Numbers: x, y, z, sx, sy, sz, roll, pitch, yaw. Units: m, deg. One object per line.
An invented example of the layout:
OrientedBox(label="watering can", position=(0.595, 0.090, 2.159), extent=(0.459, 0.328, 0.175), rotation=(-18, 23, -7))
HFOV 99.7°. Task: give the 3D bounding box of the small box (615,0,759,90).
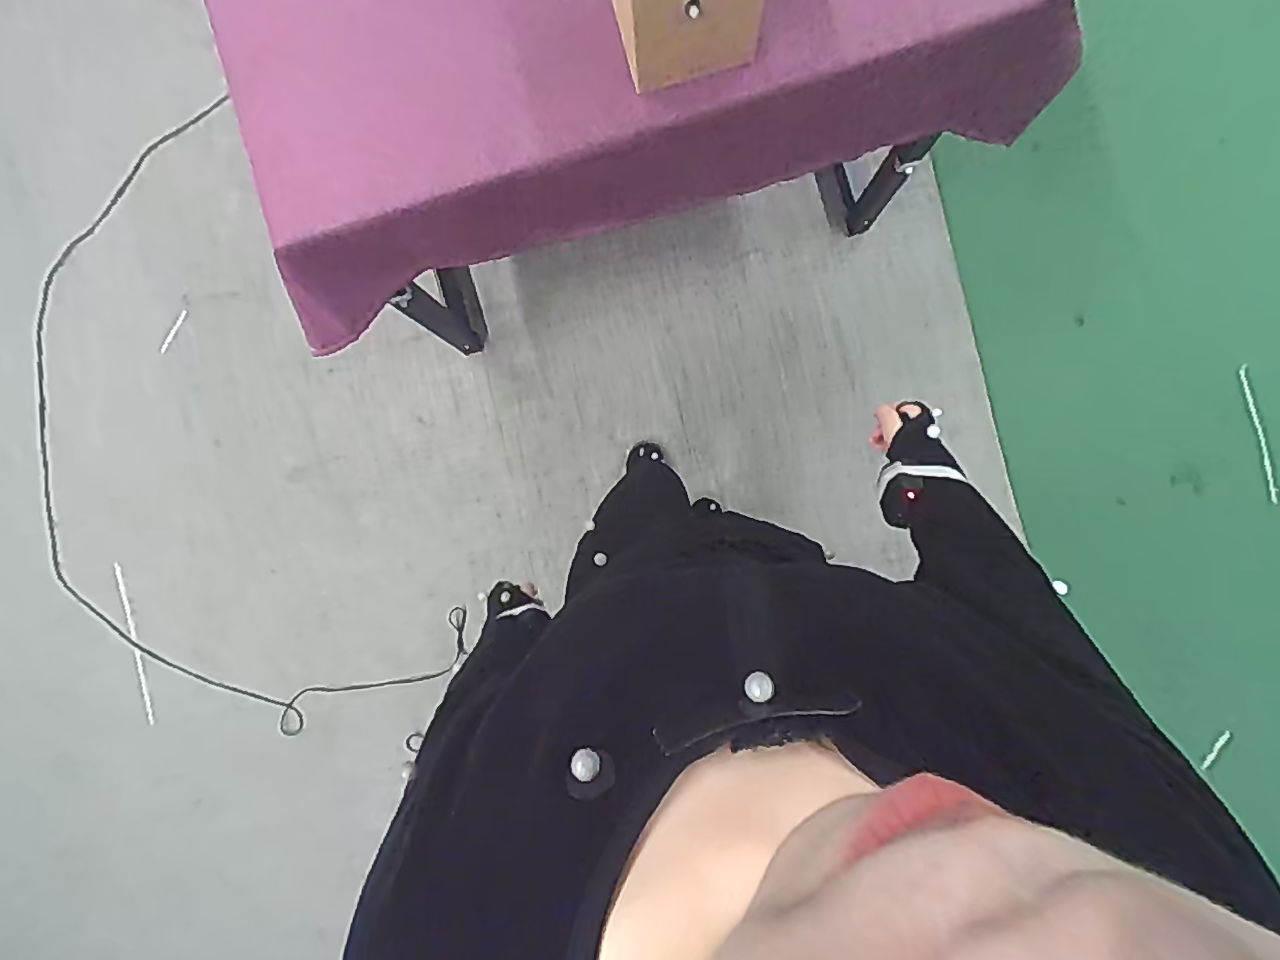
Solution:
OrientedBox(label="small box", position=(0.055, -0.660, 0.707), extent=(0.179, 0.176, 0.168), rotation=(-14, 89, 2))
